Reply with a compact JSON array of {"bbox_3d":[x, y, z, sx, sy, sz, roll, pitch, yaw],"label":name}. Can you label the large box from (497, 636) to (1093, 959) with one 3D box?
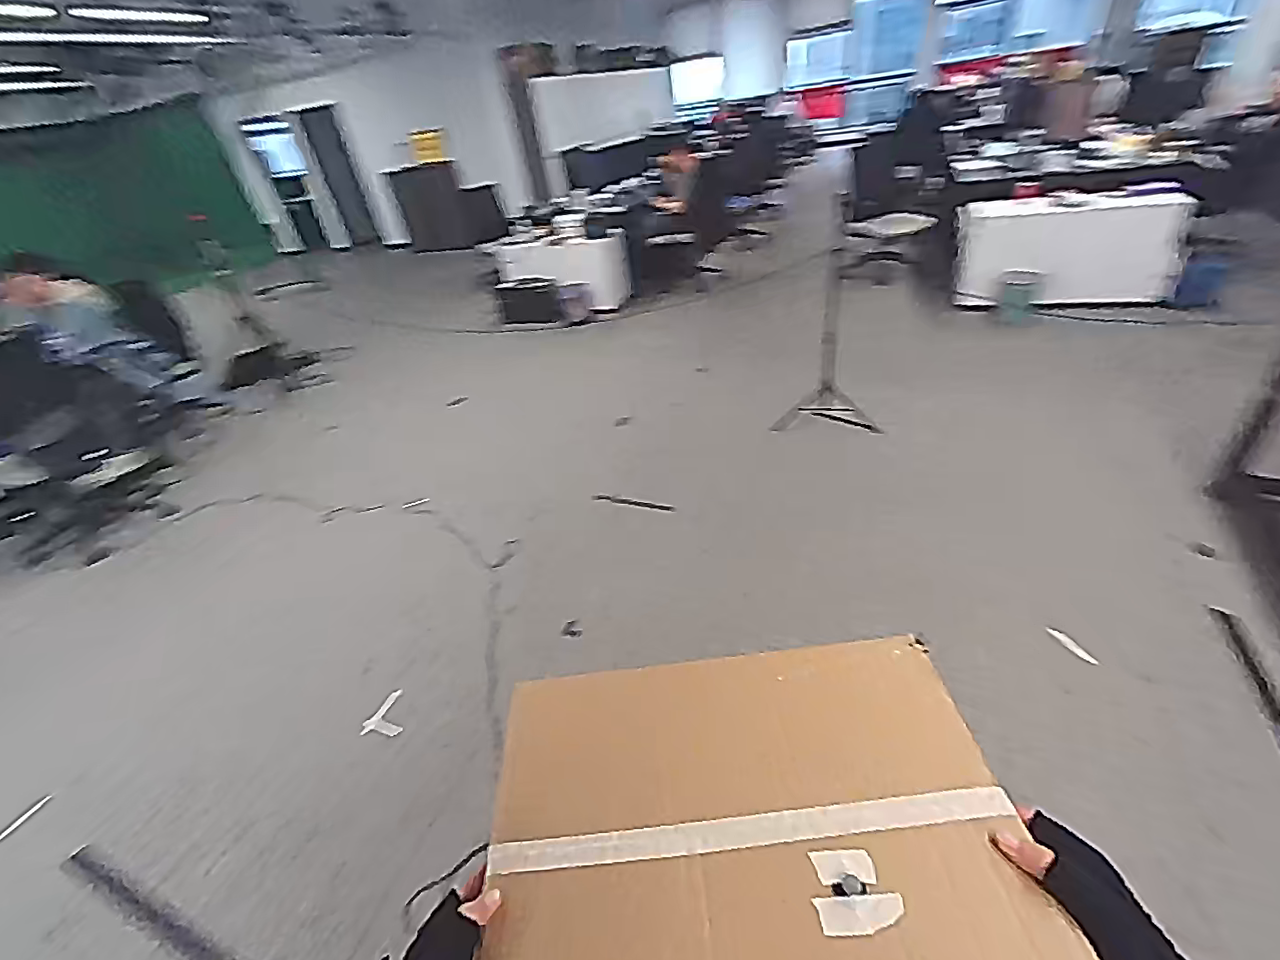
[{"bbox_3d":[0.108,0.392,0.522,0.408,0.320,0.320,-7,38,3],"label":"large box"}]
